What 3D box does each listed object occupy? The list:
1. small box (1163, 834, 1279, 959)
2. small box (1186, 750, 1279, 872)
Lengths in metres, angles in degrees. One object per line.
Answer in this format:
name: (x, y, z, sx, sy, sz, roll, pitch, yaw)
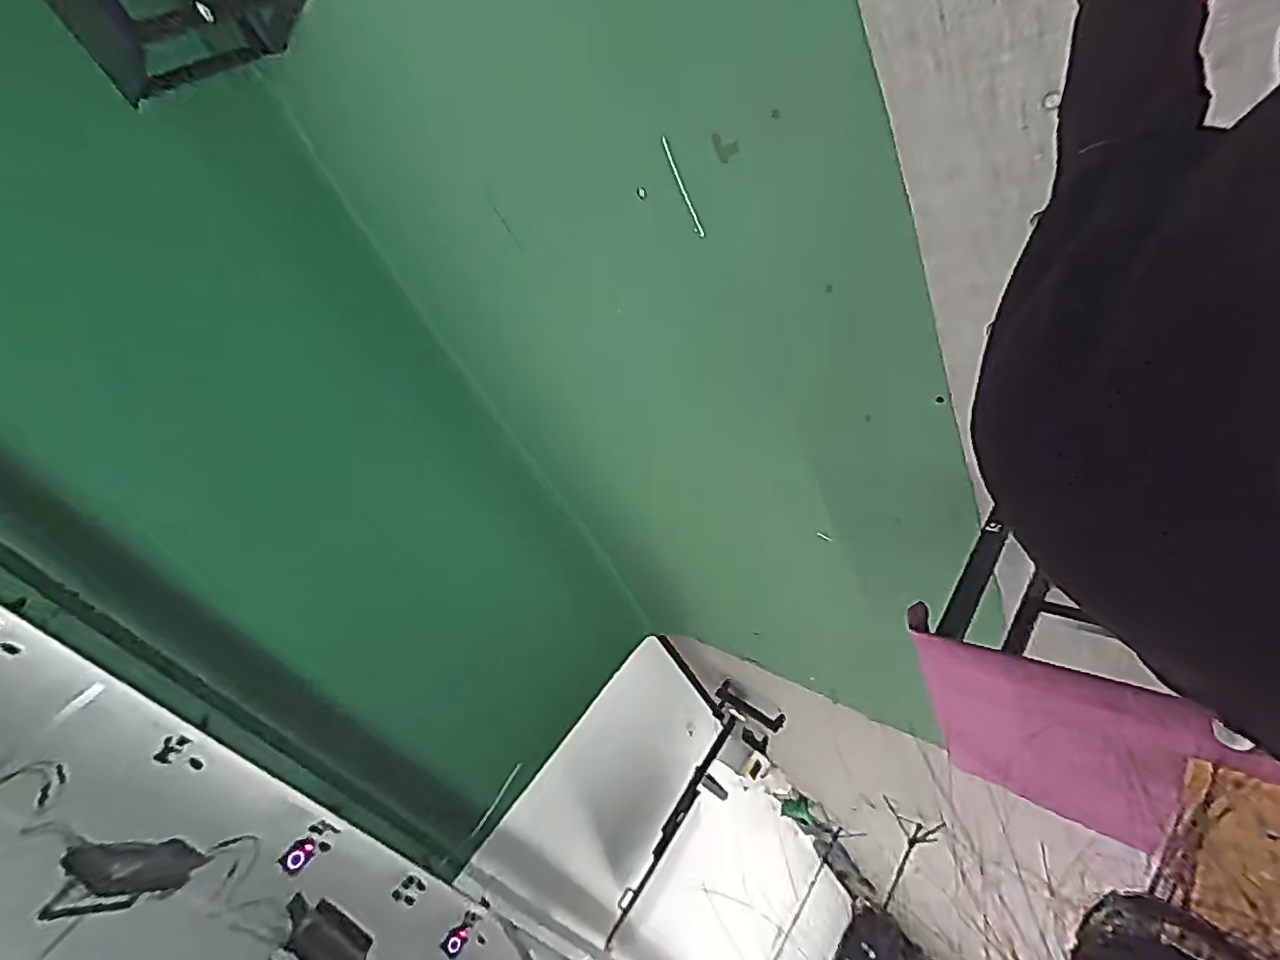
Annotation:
small box: (0.987, 0.726, 0.878, 0.179, 0.176, 0.168, 10, 141, 48)
small box: (1.086, 0.616, 0.951, 0.168, 0.176, 0.179, 6, 138, 50)
